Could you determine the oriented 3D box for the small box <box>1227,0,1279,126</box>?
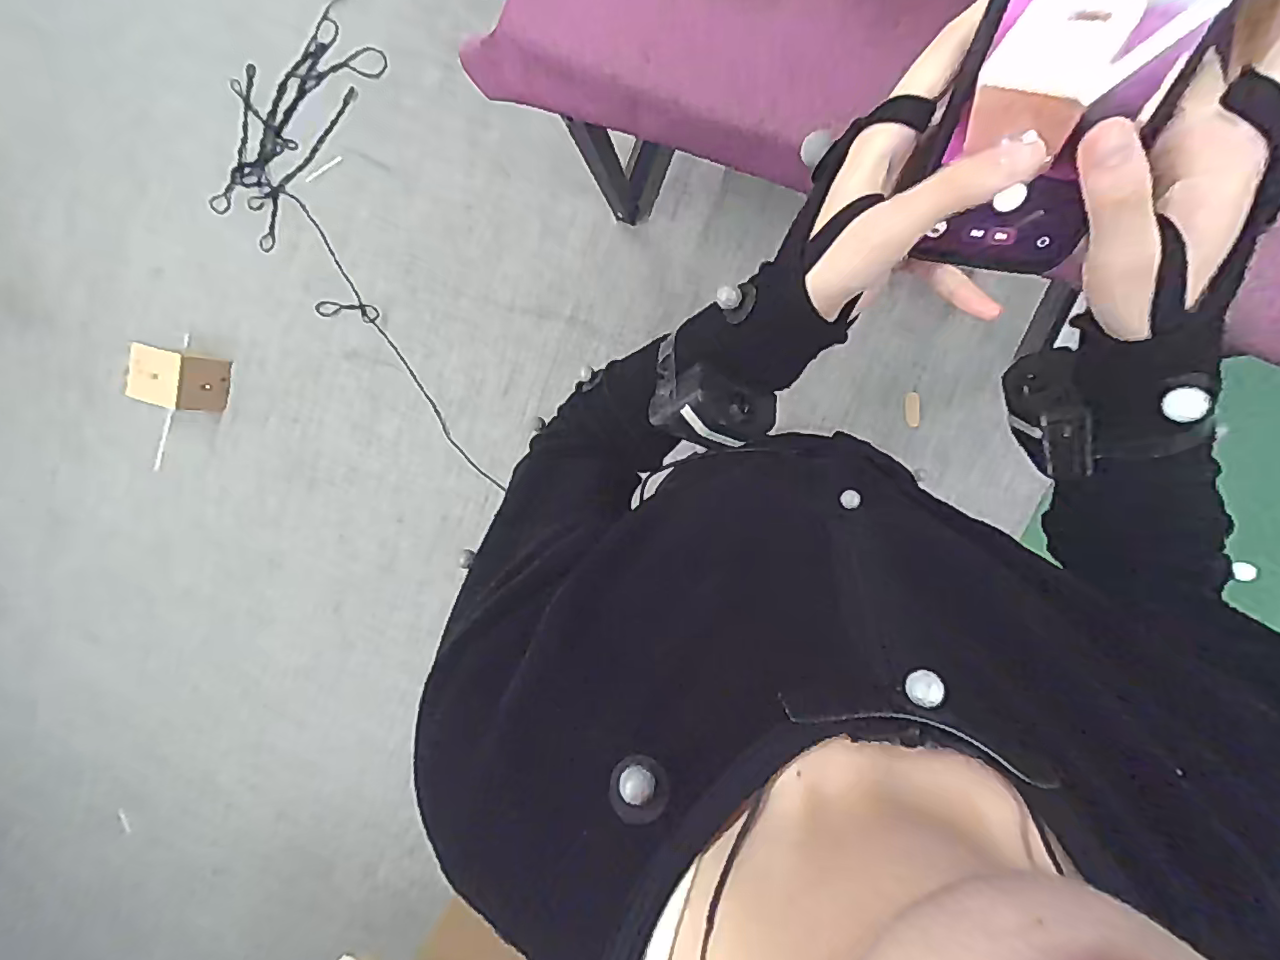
[{"bbox_3d":[0.767,-0.488,0.545,0.179,0.176,0.168,4,95,9],"label":"small box"}]

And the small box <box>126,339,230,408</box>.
[{"bbox_3d":[-1.411,-0.322,1.661,0.179,0.176,0.168,16,98,8],"label":"small box"}]

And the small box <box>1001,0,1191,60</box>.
[{"bbox_3d":[0.537,-0.603,0.574,0.179,0.176,0.168,28,100,6],"label":"small box"}]
